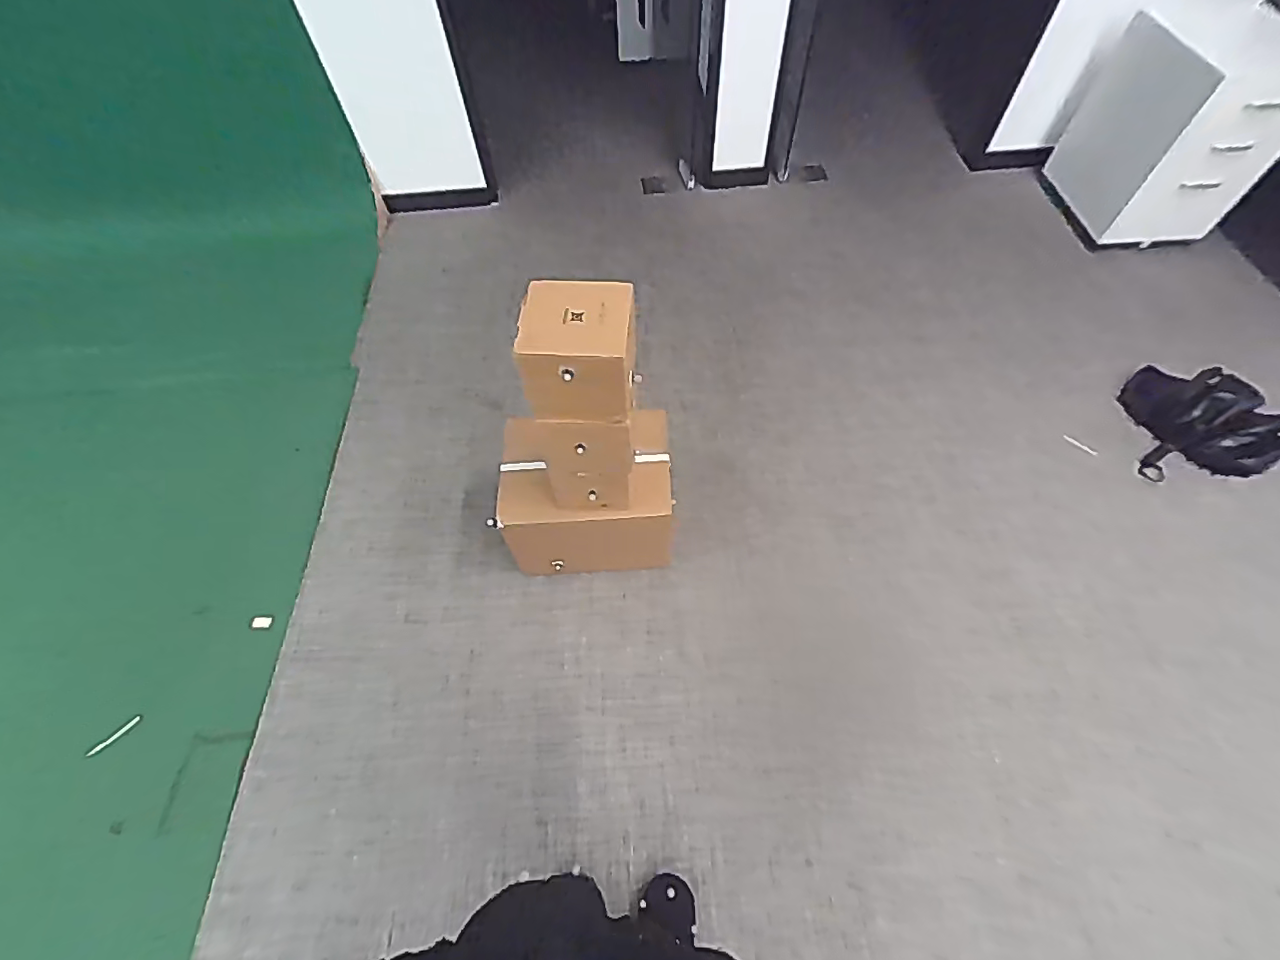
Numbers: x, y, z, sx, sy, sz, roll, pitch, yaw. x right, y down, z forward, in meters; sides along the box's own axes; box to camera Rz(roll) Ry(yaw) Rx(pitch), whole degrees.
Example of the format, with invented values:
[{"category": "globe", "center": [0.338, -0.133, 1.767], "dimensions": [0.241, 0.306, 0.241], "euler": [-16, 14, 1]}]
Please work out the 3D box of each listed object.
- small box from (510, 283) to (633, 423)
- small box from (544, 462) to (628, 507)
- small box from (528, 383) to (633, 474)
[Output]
[{"category": "small box", "center": [-0.106, -0.212, 0.925], "dimensions": [0.179, 0.176, 0.168], "euler": [3, 61, 2]}, {"category": "small box", "center": [-0.112, -0.047, 1.207], "dimensions": [0.168, 0.176, 0.179], "euler": [-1, 60, 1]}, {"category": "small box", "center": [-0.106, -0.123, 1.060], "dimensions": [0.179, 0.176, 0.168], "euler": [1, 59, 3]}]
